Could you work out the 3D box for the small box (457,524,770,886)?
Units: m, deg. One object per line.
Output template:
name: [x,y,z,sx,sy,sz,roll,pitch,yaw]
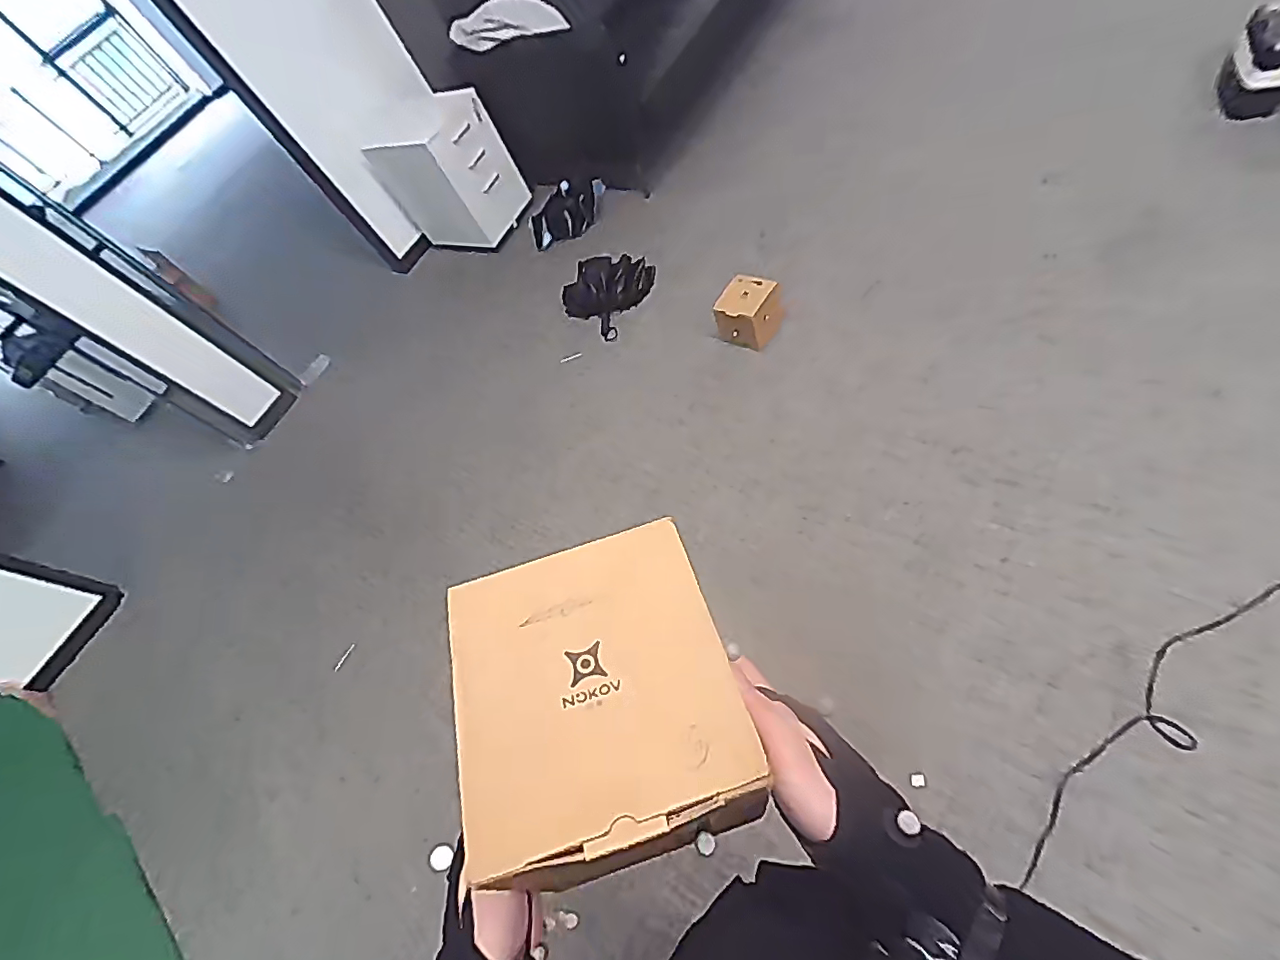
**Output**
small box: [-0.018,0.166,0.394,0.168,0.176,0.179,-17,51,-5]
